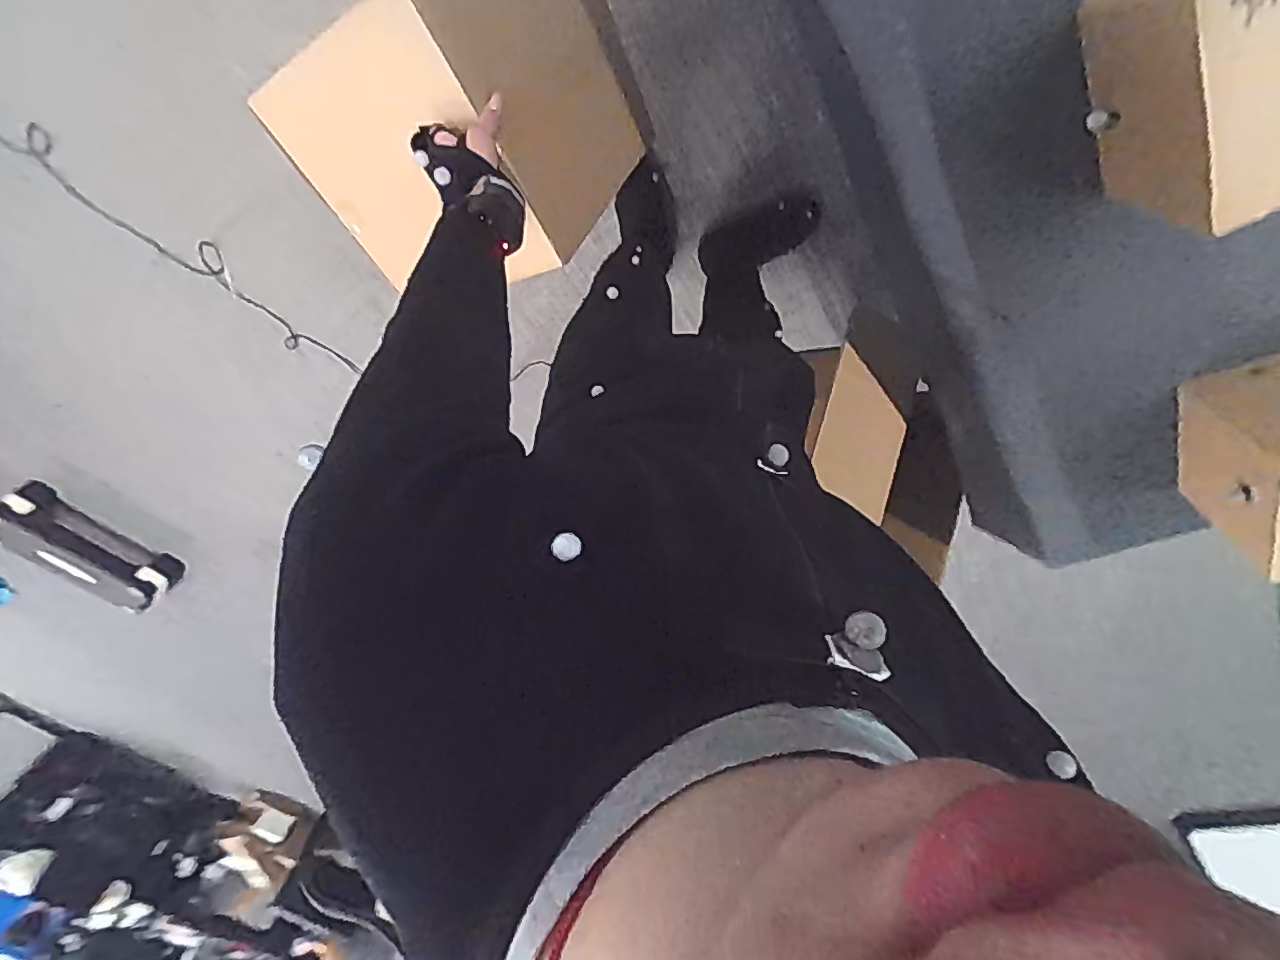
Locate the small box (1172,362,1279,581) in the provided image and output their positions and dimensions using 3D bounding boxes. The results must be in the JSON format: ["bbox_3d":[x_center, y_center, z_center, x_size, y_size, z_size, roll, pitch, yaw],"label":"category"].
[{"bbox_3d":[0.725,-0.023,0.584,0.168,0.176,0.179,-18,122,24],"label":"small box"}]

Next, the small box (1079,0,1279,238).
[{"bbox_3d":[0.472,-0.324,0.406,0.168,0.176,0.179,-22,121,26],"label":"small box"}]
